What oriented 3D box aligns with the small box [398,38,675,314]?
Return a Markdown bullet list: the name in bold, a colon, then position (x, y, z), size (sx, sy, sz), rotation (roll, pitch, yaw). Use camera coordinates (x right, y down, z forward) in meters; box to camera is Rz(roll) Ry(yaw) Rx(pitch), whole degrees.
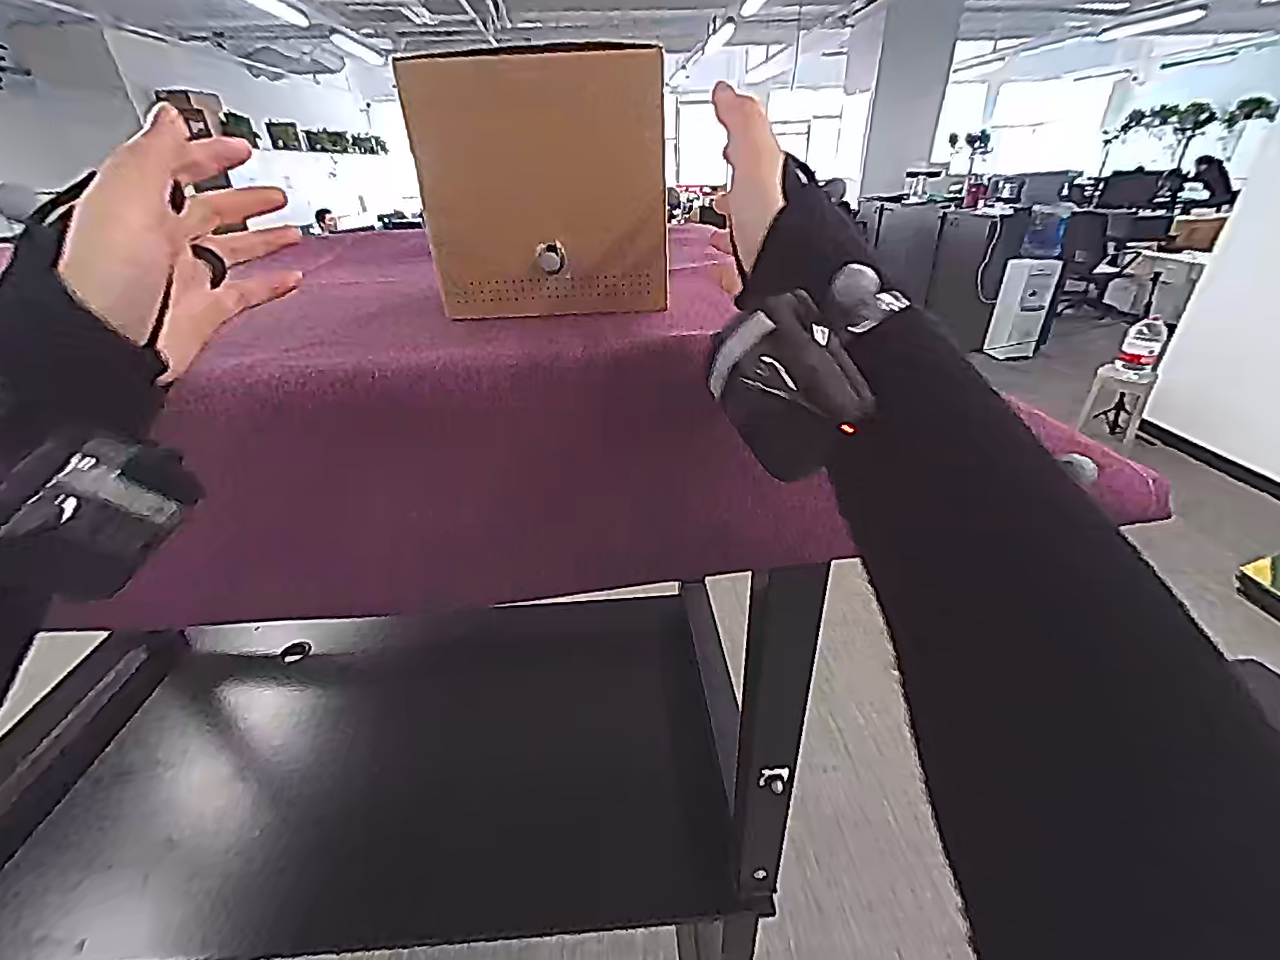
- **small box**: position (-0.065, -0.240, 0.447), size (0.179, 0.176, 0.168), rotation (-2, 29, 0)
